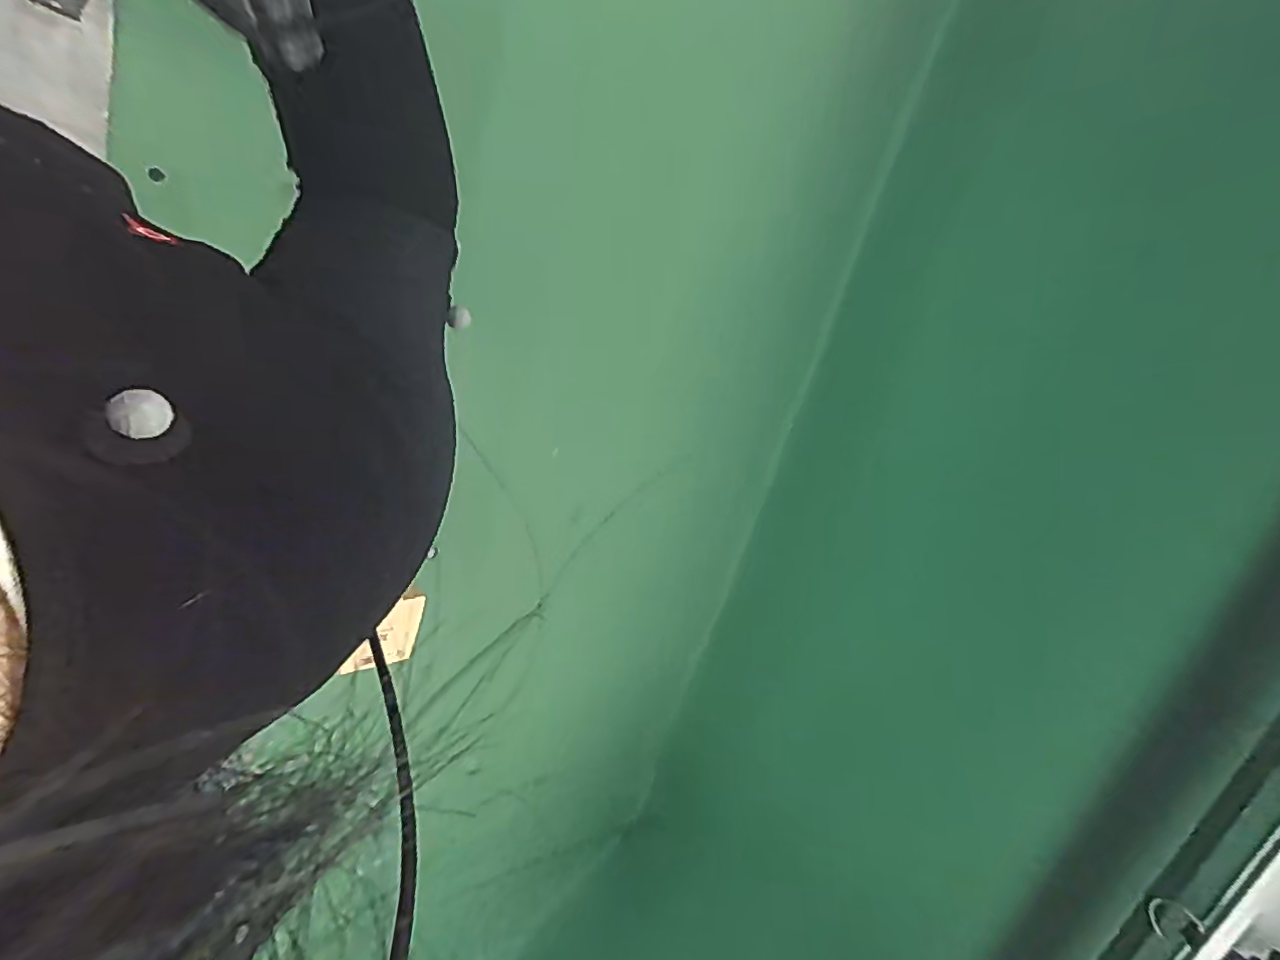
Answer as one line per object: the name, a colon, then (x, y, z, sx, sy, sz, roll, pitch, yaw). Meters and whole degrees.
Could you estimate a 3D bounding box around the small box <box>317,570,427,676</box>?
small box: (-0.634, 0.324, 1.274, 0.168, 0.176, 0.179, 3, 109, -51)
